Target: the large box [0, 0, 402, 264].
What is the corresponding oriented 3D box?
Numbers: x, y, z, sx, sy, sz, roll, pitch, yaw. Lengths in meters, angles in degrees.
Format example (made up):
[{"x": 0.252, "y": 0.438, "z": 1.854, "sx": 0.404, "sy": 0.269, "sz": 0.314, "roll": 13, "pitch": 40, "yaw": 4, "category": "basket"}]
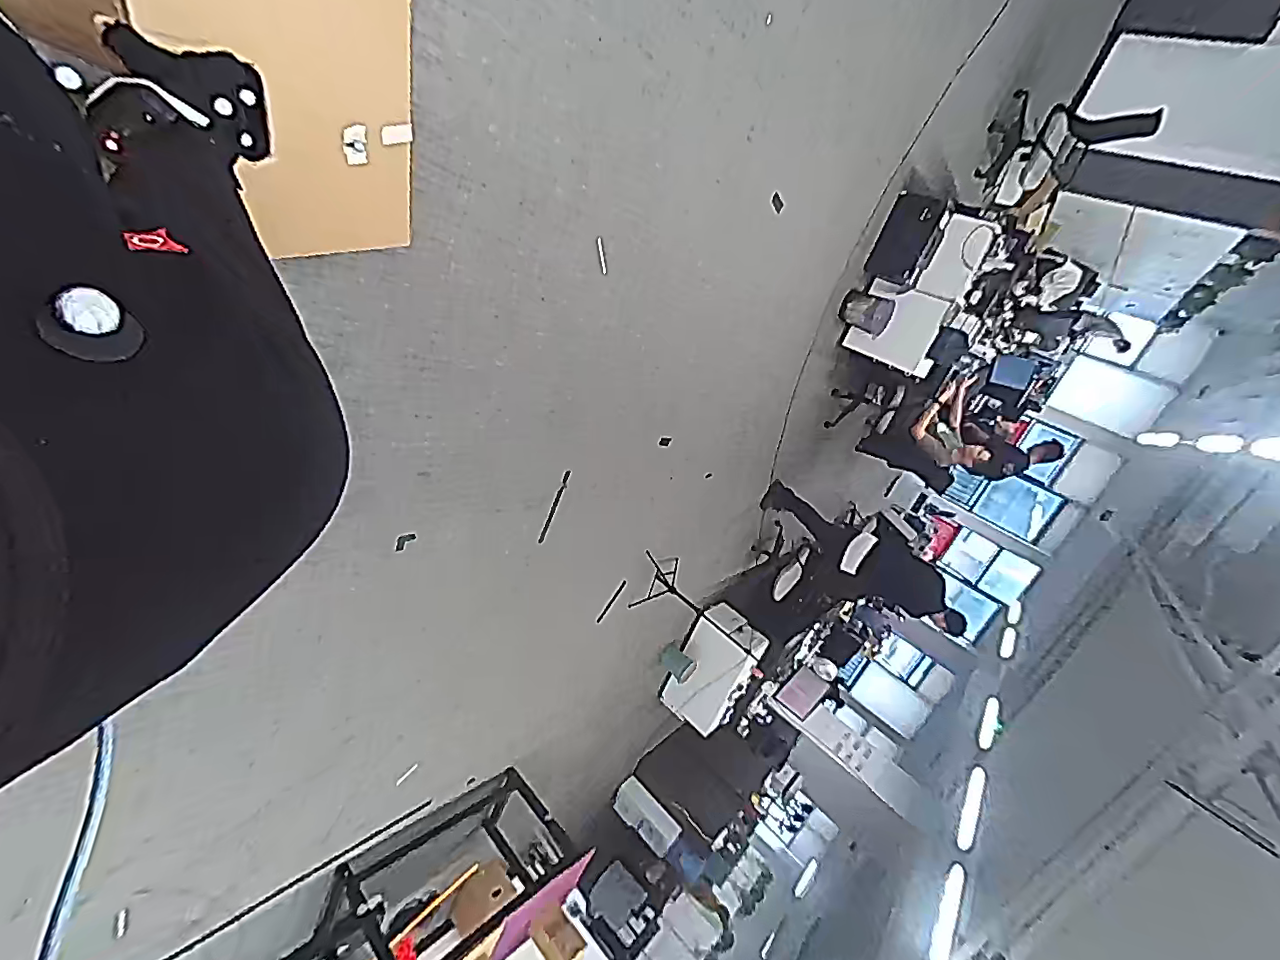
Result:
[{"x": -0.570, "y": -0.511, "z": 0.690, "sx": 0.320, "sy": 0.408, "sz": 0.320, "roll": -39, "pitch": 153, "yaw": -50, "category": "large box"}]
